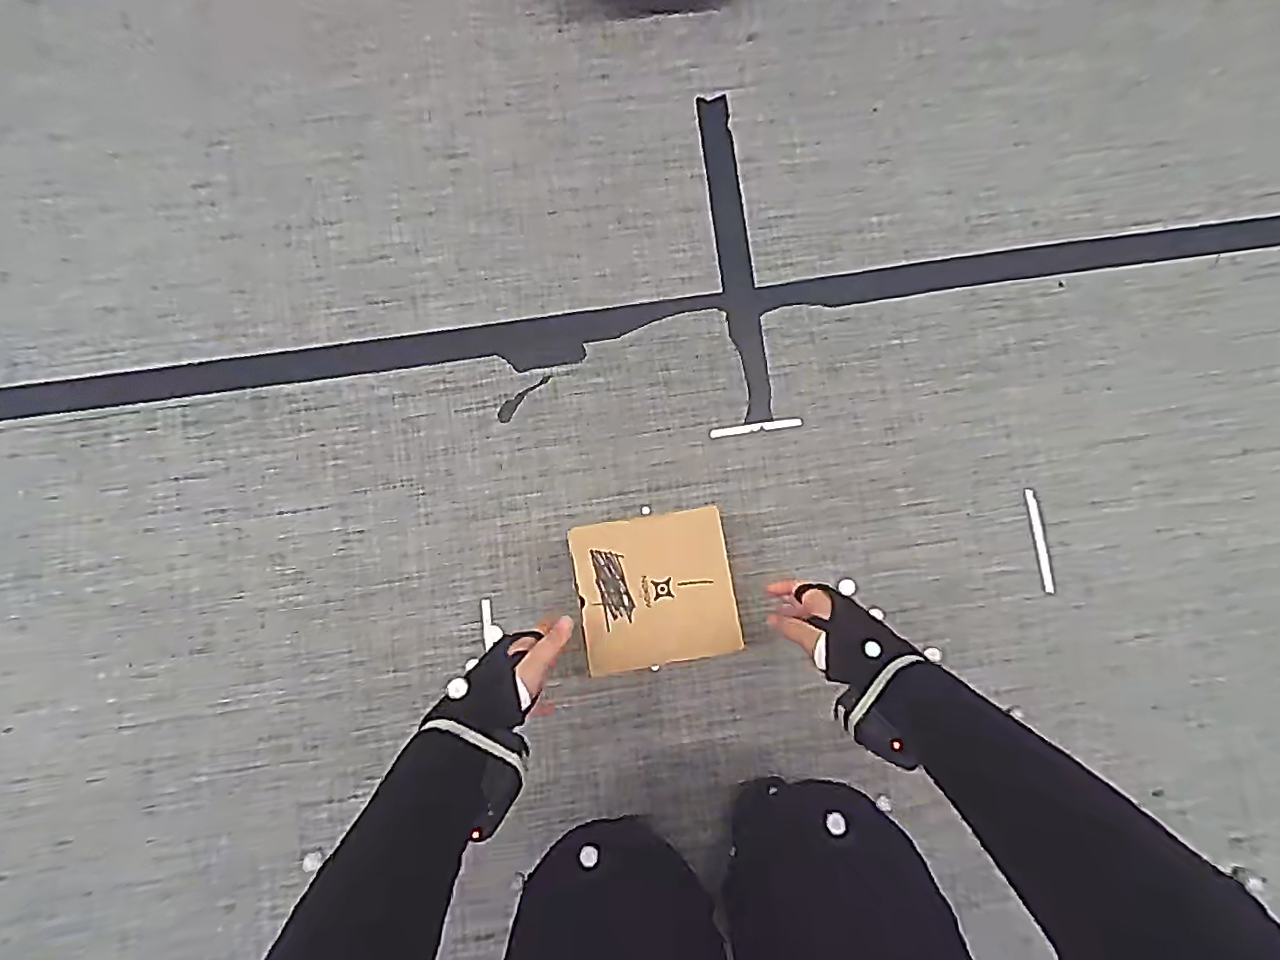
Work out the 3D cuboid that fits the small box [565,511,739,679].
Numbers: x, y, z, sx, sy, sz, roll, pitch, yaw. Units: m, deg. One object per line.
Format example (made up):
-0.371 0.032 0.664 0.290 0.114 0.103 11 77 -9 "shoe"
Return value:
0.011 0.139 0.685 0.179 0.176 0.168 -9 83 -3 "small box"
